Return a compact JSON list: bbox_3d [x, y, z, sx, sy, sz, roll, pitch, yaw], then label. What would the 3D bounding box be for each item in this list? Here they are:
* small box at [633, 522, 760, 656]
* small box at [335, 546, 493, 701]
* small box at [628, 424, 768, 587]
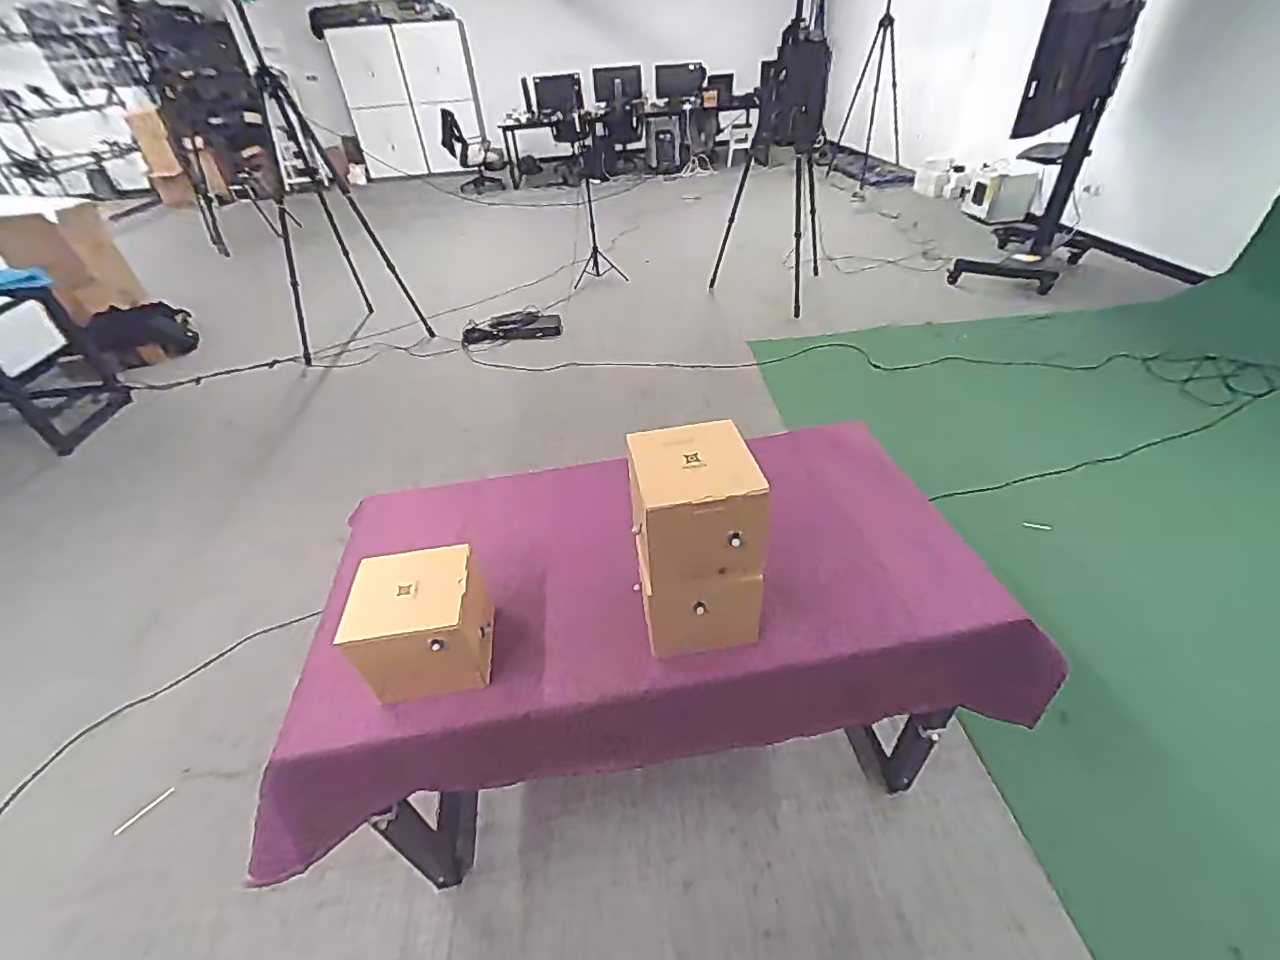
[{"bbox_3d":[0.089,0.172,0.897,0.179,0.176,0.168,-7,40,-3],"label":"small box"},{"bbox_3d":[-0.346,0.231,0.867,0.179,0.176,0.168,-7,39,-5],"label":"small box"},{"bbox_3d":[0.079,0.042,0.799,0.168,0.176,0.179,-8,39,-5],"label":"small box"}]
